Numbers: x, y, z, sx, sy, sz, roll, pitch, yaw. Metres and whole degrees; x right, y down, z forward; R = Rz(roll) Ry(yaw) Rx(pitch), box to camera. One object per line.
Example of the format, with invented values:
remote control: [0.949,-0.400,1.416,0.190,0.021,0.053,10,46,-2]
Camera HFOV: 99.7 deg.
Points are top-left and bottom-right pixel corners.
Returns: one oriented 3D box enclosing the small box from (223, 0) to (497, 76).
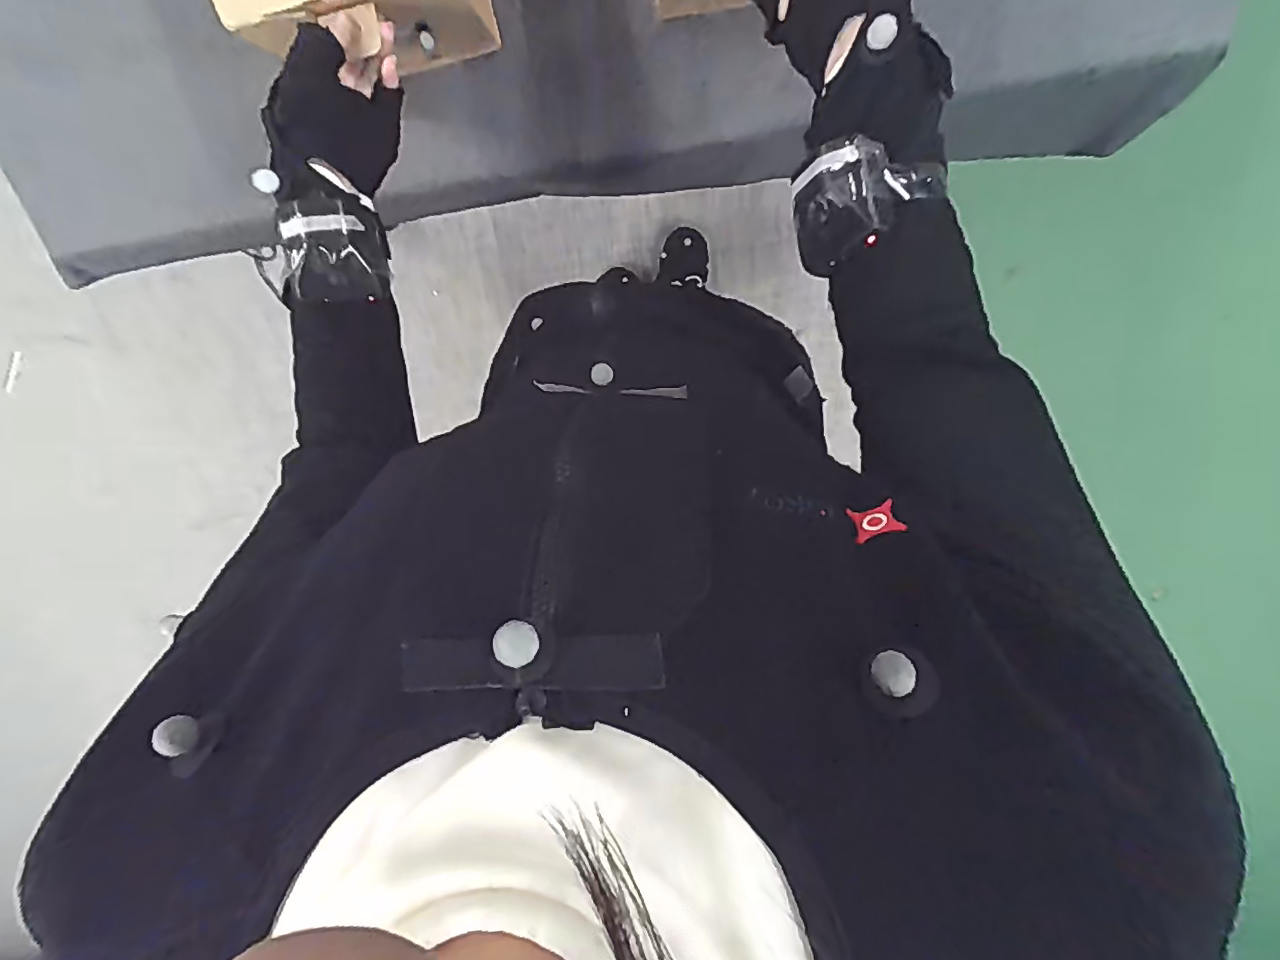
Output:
small box: [-0.227,-0.447,0.419,0.168,0.176,0.179,-12,112,5]

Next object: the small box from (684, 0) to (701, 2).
small box: [0.087,-0.487,0.392,0.168,0.176,0.179,-5,114,4]

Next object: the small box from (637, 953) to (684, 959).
small box: [0.069,1.791,1.883,0.179,0.176,0.168,-1,110,2]
